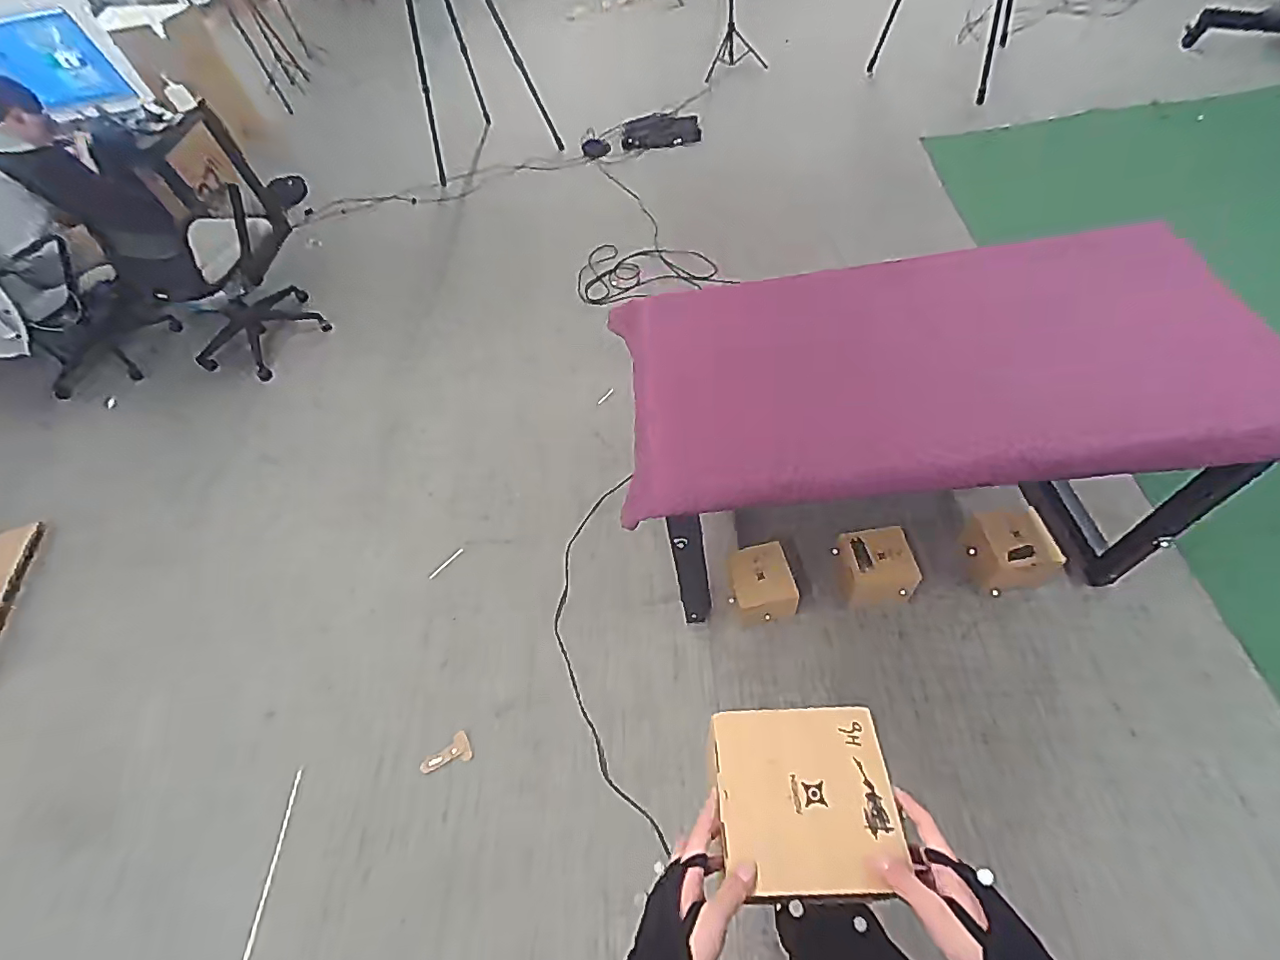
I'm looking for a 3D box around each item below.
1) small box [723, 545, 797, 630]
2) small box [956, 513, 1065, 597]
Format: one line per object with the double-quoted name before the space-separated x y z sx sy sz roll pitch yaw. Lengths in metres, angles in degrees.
"small box" 0.341 0.316 1.550 0.168 0.176 0.179 -13 54 1
"small box" 1.018 0.216 1.504 0.168 0.176 0.179 -8 53 4
